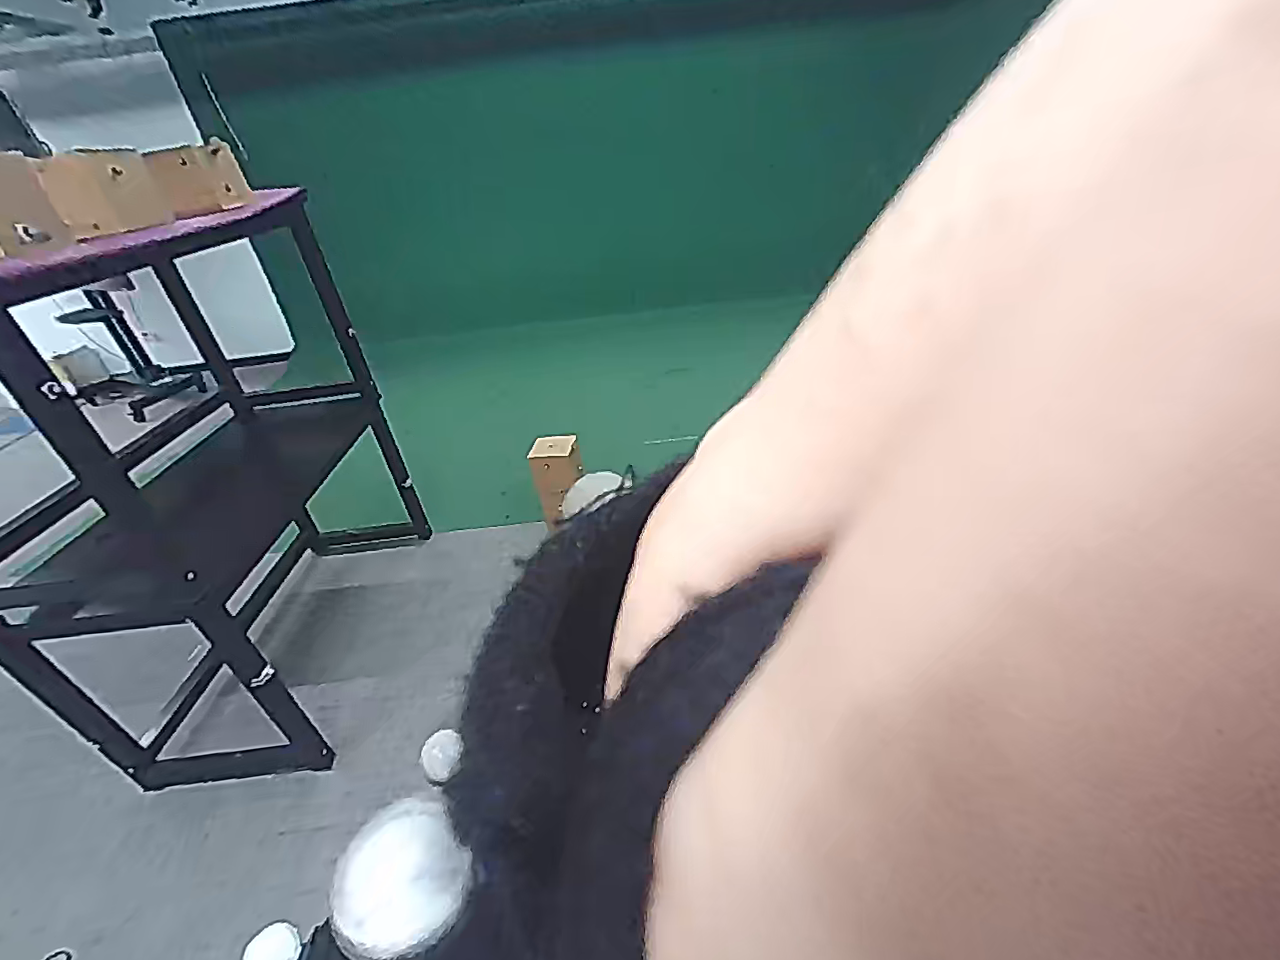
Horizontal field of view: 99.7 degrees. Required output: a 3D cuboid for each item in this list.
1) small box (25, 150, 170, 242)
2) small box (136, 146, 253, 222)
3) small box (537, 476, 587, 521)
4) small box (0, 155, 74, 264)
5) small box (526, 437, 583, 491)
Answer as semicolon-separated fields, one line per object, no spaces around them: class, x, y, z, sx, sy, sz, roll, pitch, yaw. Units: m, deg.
small box;-1.292;-0.674;1.288;0.168;0.176;0.179;-8;32;2
small box;-1.302;-0.871;1.591;0.179;0.176;0.168;-7;34;4
small box;-0.330;0.067;2.344;0.168;0.176;0.179;-4;34;7
small box;-1.238;-0.491;0.995;0.179;0.176;0.168;-8;34;-3
small box;-0.349;-0.065;2.244;0.179;0.176;0.168;-2;34;9
